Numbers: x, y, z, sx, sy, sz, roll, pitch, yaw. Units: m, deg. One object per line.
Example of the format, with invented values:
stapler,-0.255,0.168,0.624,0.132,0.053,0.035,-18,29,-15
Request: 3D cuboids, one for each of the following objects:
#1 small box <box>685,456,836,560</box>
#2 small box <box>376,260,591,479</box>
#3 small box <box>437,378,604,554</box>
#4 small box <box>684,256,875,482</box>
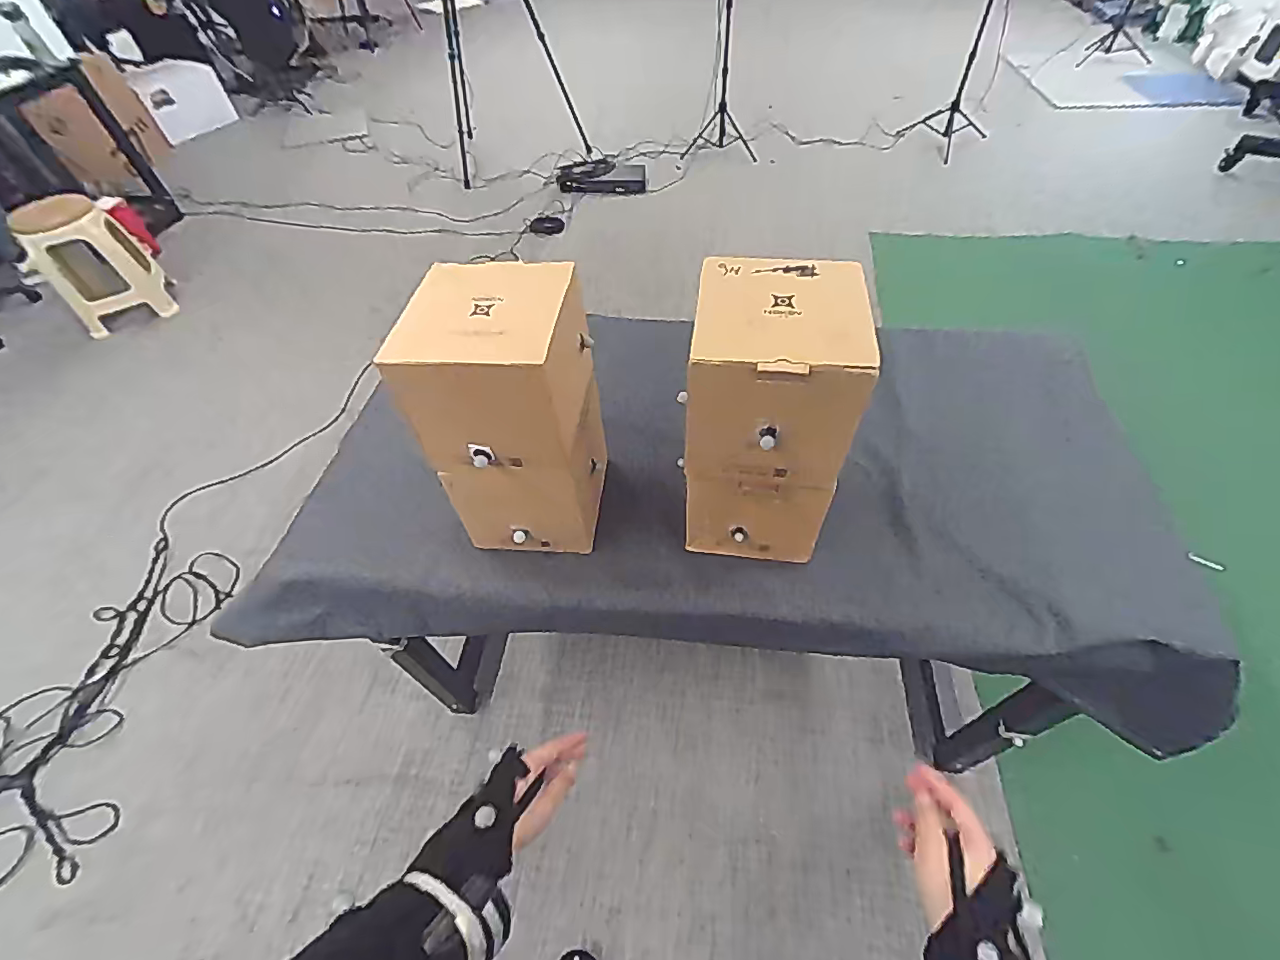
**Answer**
small box,0.149,-0.018,0.711,0.168,0.176,0.179,5,52,7
small box,-0.152,-0.122,0.602,0.168,0.176,0.179,1,52,6
small box,-0.144,-0.021,0.729,0.168,0.176,0.179,2,52,5
small box,0.138,-0.116,0.580,0.168,0.176,0.179,5,53,7
